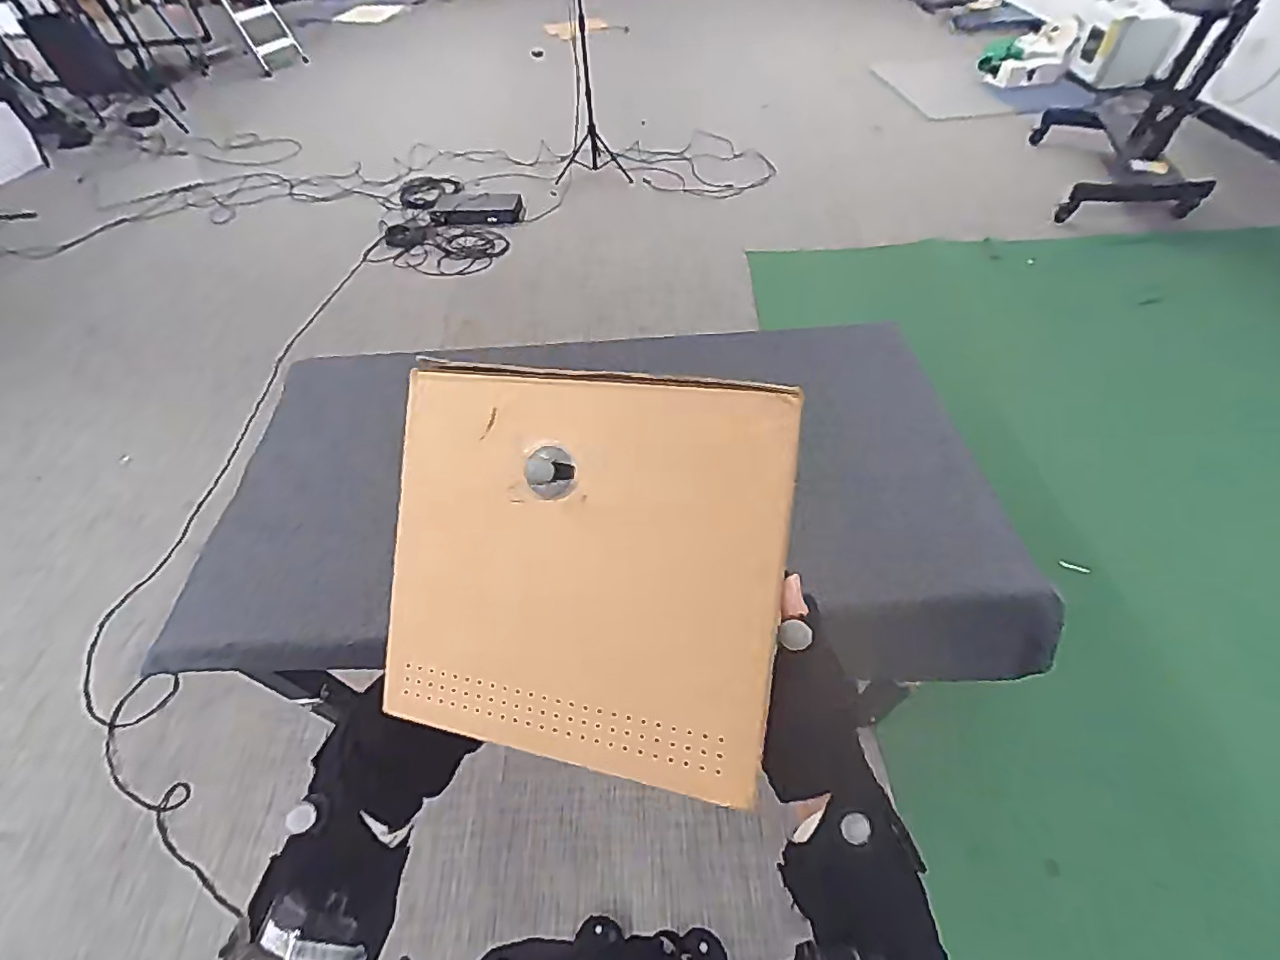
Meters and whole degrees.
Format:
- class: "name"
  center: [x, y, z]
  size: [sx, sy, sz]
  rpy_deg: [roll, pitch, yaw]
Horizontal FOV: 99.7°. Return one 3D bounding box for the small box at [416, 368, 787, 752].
- class: "small box"
  center: [-0.011, 0.034, 0.326]
  size: [0.179, 0.168, 0.176]
  rpy_deg: [6, 93, 17]
